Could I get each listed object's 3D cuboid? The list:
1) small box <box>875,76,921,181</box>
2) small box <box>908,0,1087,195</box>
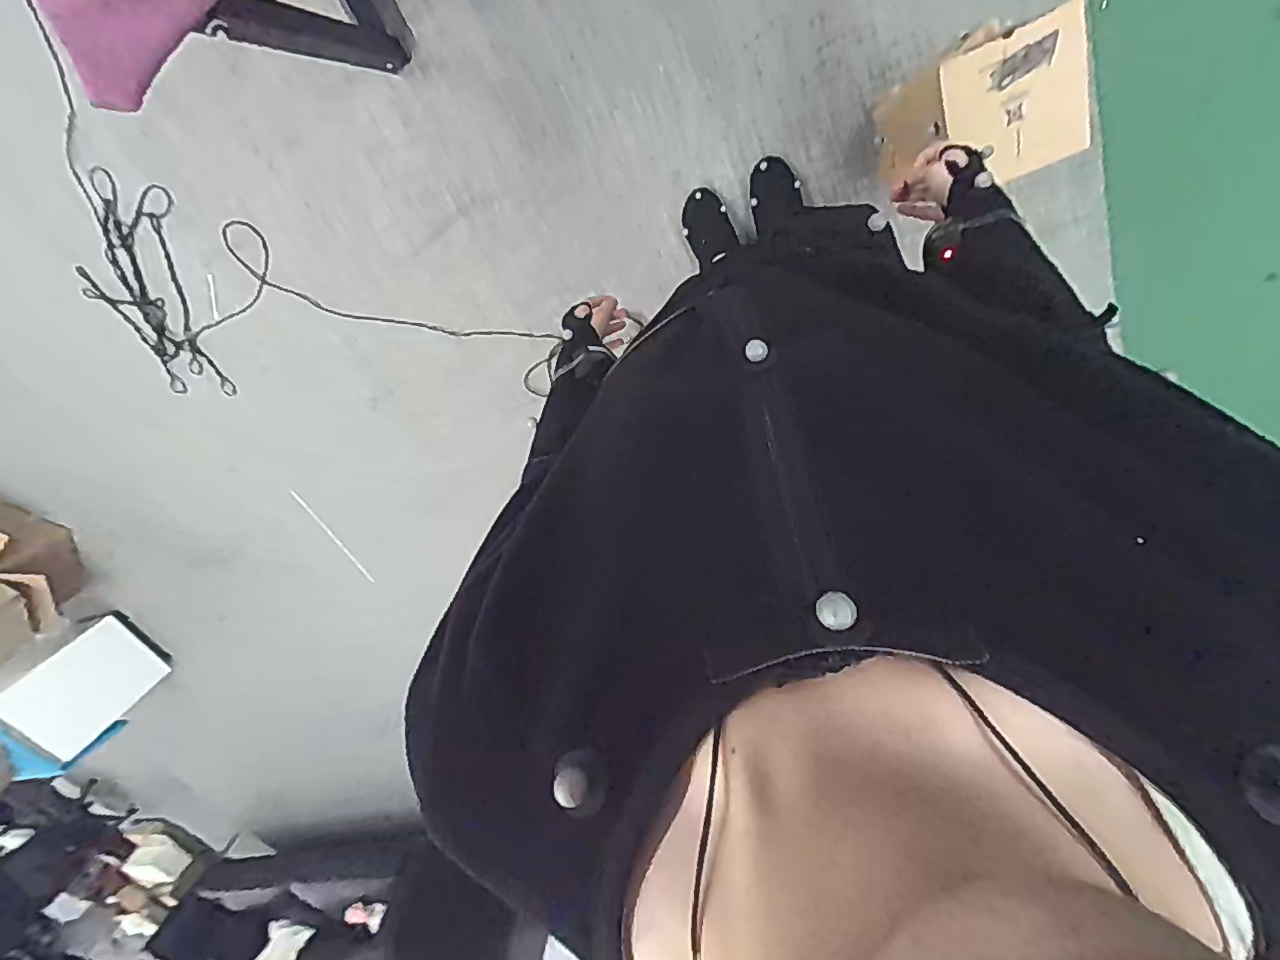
[{"bbox_3d":[0.567,-0.704,1.062,0.179,0.176,0.168,-8,119,17],"label":"small box"},{"bbox_3d":[0.506,-0.540,0.783,0.168,0.176,0.179,-16,118,20],"label":"small box"}]
